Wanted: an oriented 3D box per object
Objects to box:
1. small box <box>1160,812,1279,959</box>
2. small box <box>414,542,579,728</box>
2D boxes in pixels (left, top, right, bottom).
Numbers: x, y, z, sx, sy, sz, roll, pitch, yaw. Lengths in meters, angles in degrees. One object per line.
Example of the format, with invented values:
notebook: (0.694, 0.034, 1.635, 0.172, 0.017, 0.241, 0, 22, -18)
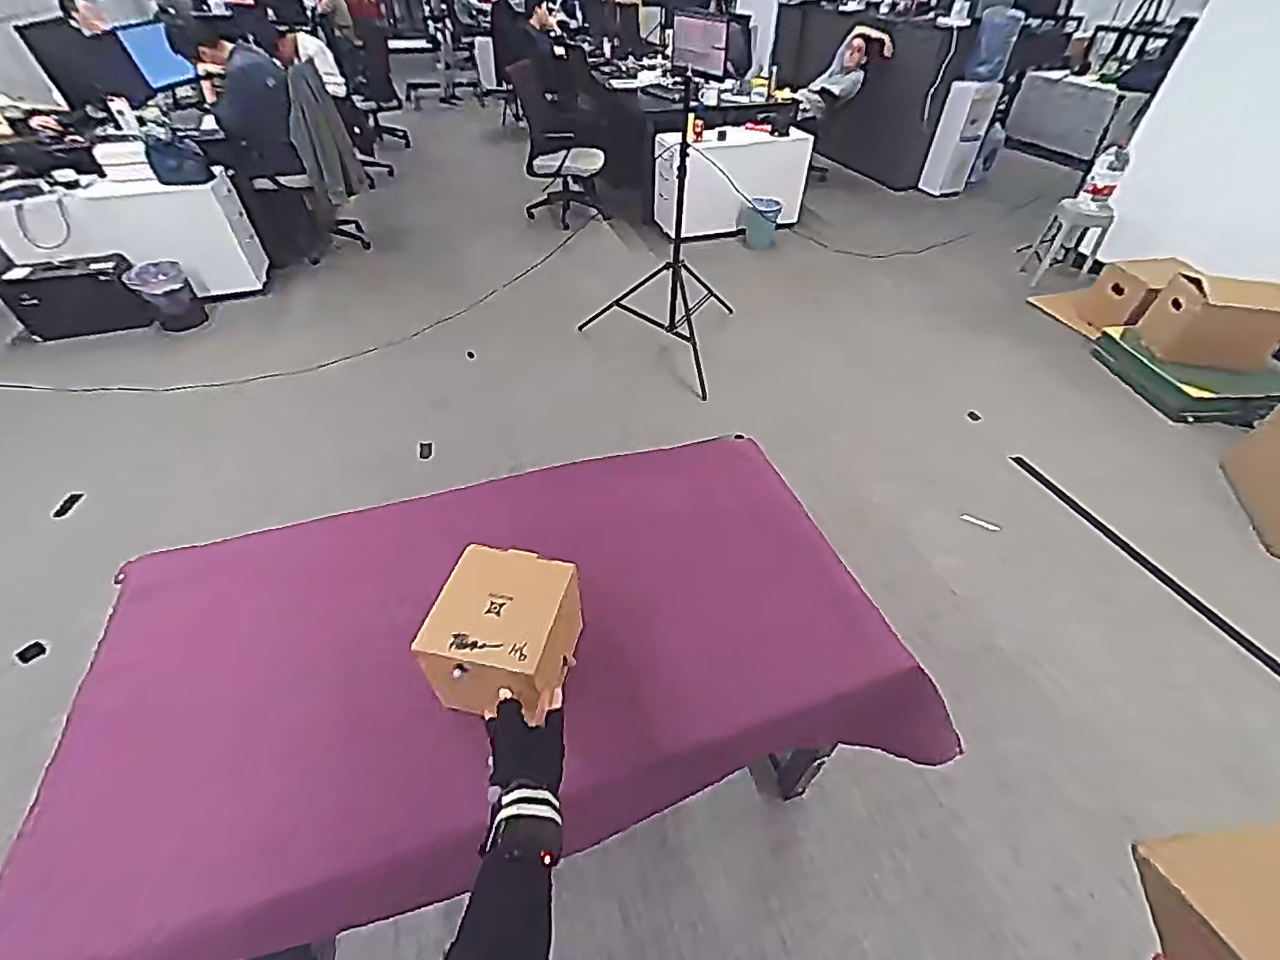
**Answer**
small box: (0.369, 0.264, 0.215, 0.168, 0.176, 0.179, -16, -1, 15)
small box: (-0.190, 0.221, 0.777, 0.168, 0.176, 0.179, 10, 43, 9)
